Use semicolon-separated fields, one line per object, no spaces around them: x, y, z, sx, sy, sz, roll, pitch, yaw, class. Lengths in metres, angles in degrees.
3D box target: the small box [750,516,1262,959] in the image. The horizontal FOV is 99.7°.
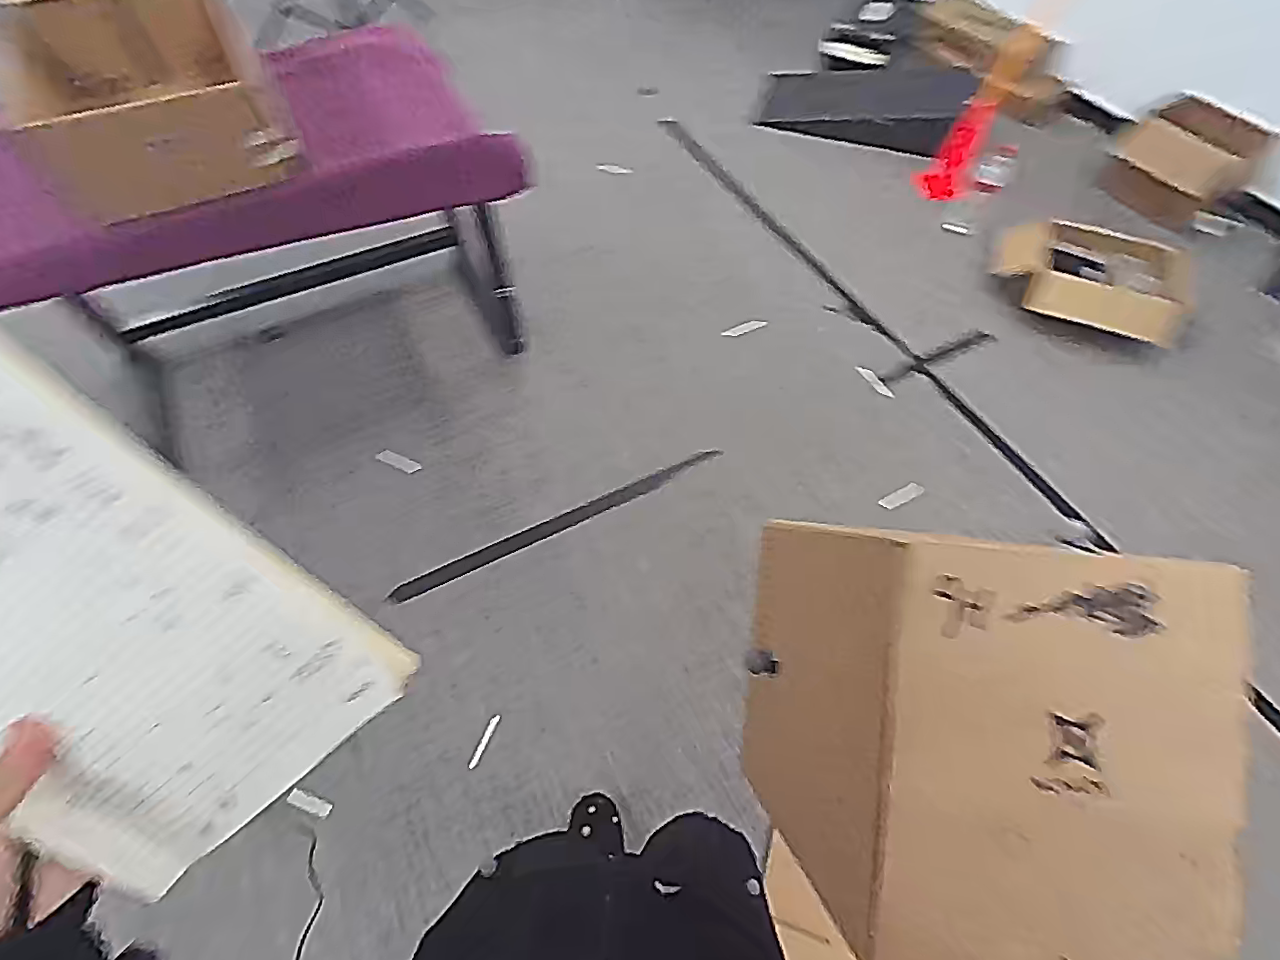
0.169;0.117;0.303;0.168;0.176;0.179;6;88;-7;small box
